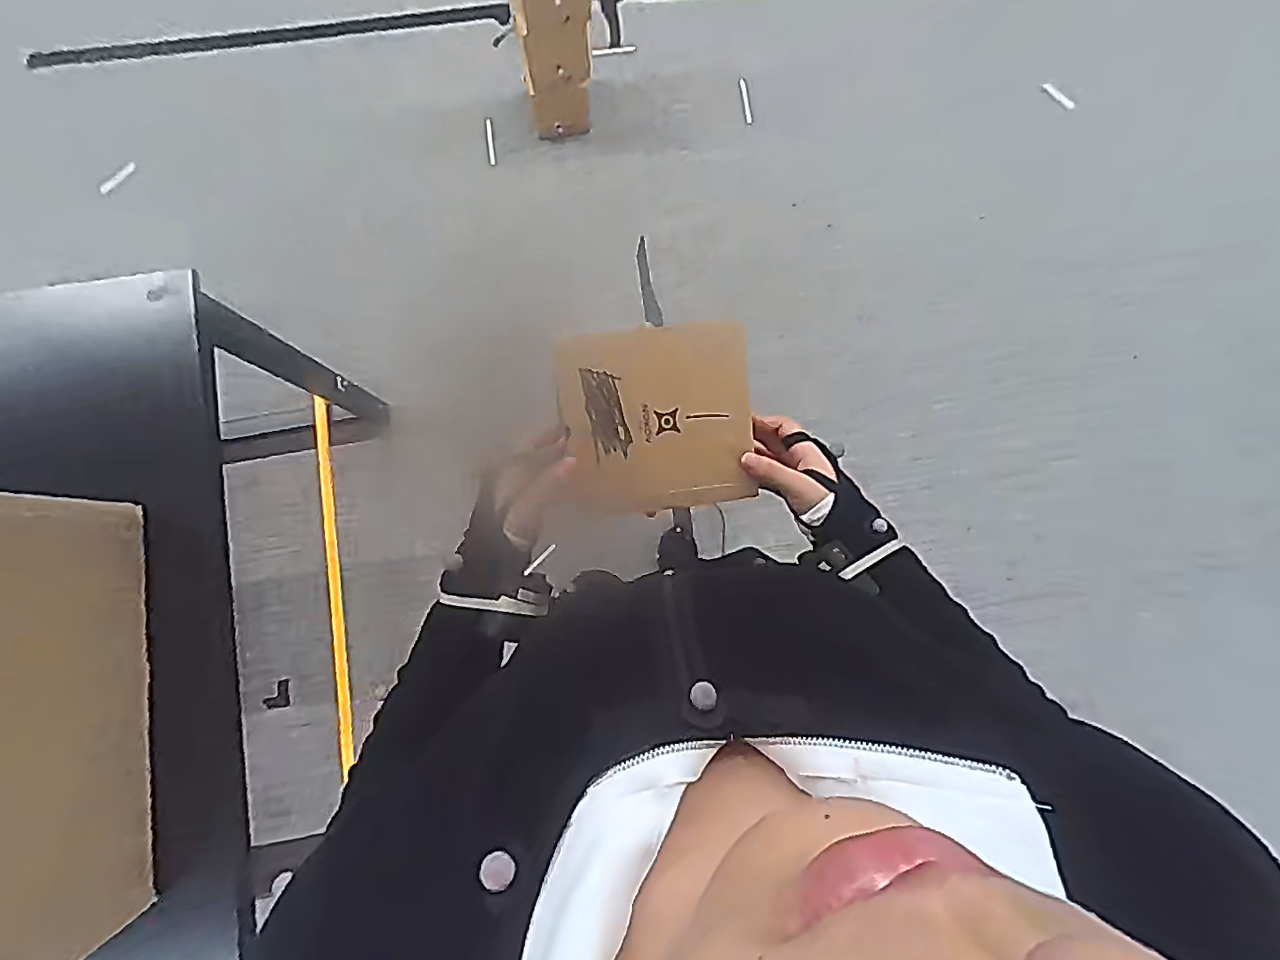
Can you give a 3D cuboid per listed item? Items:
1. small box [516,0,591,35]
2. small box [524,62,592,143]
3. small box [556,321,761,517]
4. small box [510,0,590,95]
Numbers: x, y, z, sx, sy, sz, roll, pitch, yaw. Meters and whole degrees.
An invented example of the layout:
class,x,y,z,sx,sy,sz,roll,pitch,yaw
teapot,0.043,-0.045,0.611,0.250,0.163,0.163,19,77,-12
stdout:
class,x,y,z,sx,sy,sz,roll,pitch,yaw
small box,-0.218,-1.189,1.258,0.168,0.176,0.179,-19,84,-3
small box,-0.239,-1.135,1.583,0.168,0.176,0.179,-12,84,-2
small box,0.014,-0.063,0.568,0.179,0.176,0.168,-7,98,-4
small box,-0.234,-1.169,1.421,0.168,0.176,0.179,-17,83,-2
